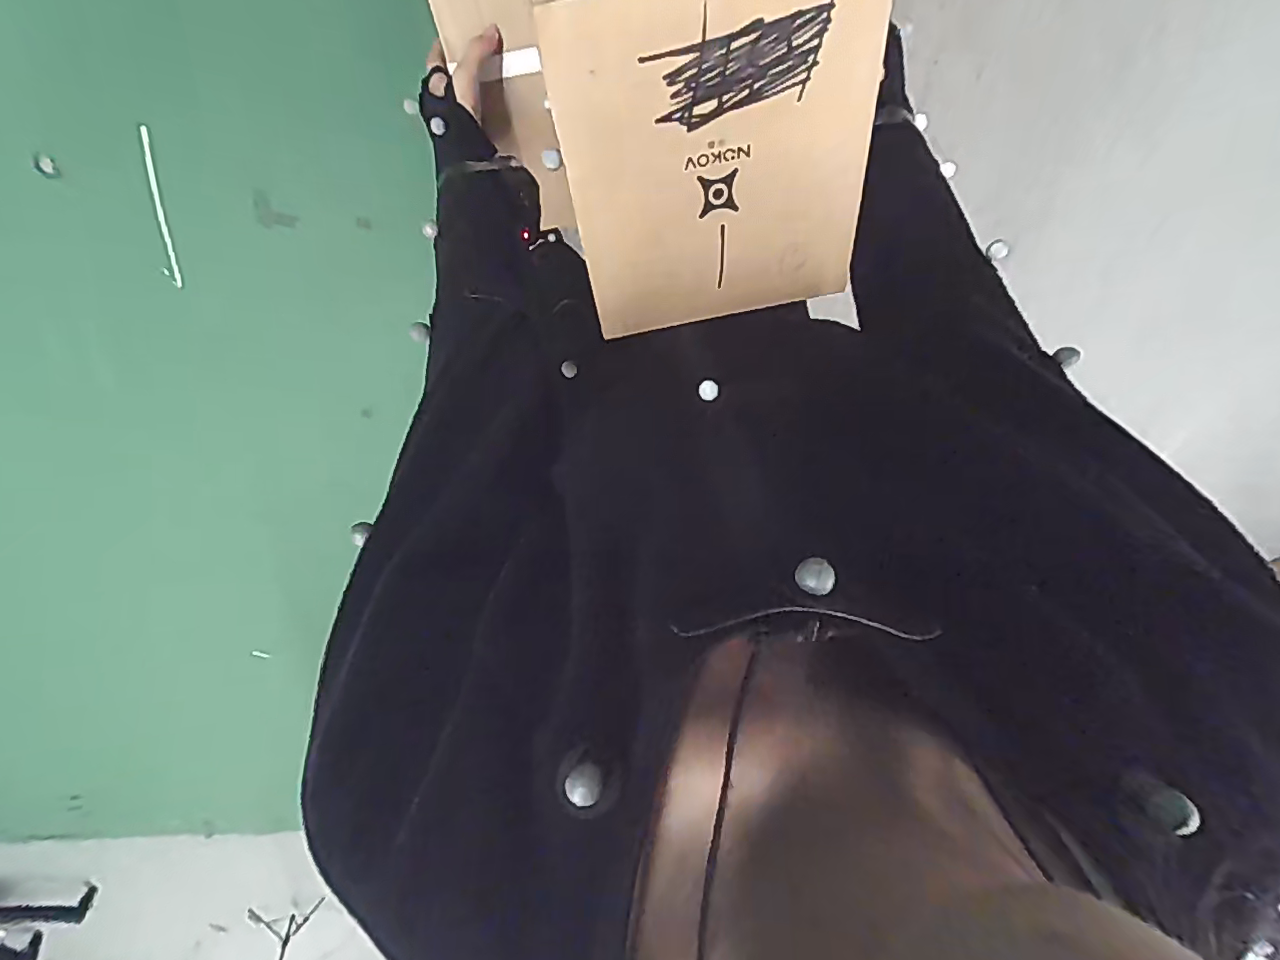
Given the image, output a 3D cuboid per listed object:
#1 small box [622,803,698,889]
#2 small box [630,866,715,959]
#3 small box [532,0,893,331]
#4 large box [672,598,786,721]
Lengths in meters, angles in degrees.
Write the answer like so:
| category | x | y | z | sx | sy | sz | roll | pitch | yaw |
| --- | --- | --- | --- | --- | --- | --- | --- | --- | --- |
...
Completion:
| category | x | y | z | sx | sy | sz | roll | pitch | yaw |
| --- | --- | --- | --- | --- | --- | --- | --- | --- | --- |
| small box | 0.051 | 1.075 | 1.595 | 0.179 | 0.176 | 0.168 | 6 | 129 | -15 |
| small box | 0.081 | 1.168 | 1.461 | 0.179 | 0.176 | 0.168 | 5 | 129 | -15 |
| small box | 0.032 | -0.227 | 0.341 | 0.168 | 0.176 | 0.179 | -11 | 139 | 2 |
| large box | 0.346 | 0.747 | 2.243 | 0.320 | 0.320 | 0.408 | 7 | 127 | -15 |
